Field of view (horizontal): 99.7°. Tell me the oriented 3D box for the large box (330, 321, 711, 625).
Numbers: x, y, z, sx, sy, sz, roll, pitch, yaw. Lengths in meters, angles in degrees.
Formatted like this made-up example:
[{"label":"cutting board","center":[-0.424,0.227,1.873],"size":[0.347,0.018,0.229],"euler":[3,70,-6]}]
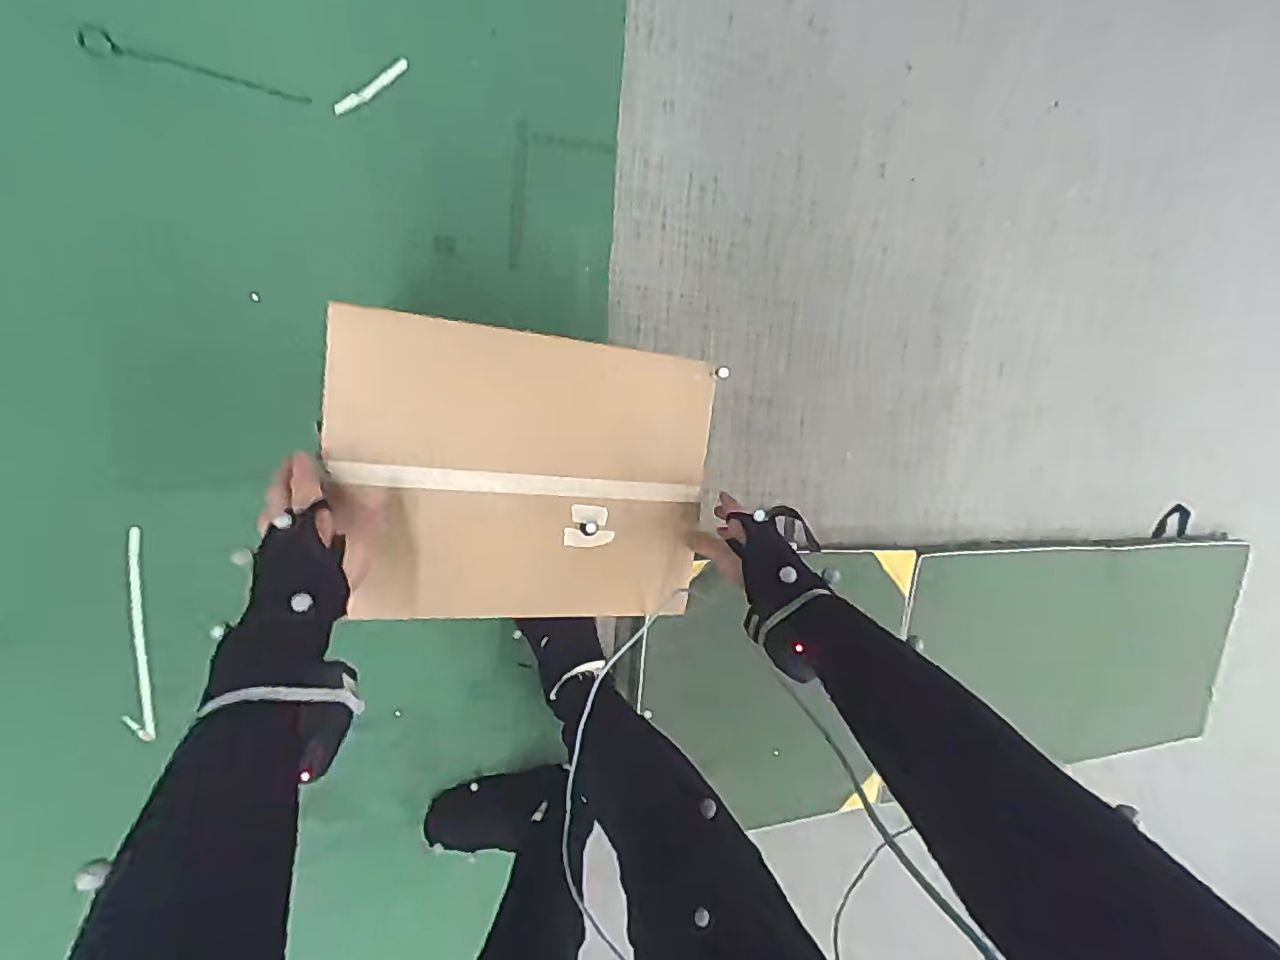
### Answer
[{"label":"large box","center":[-0.165,-0.017,0.734],"size":[0.408,0.320,0.320],"euler":[4,100,-20]}]
